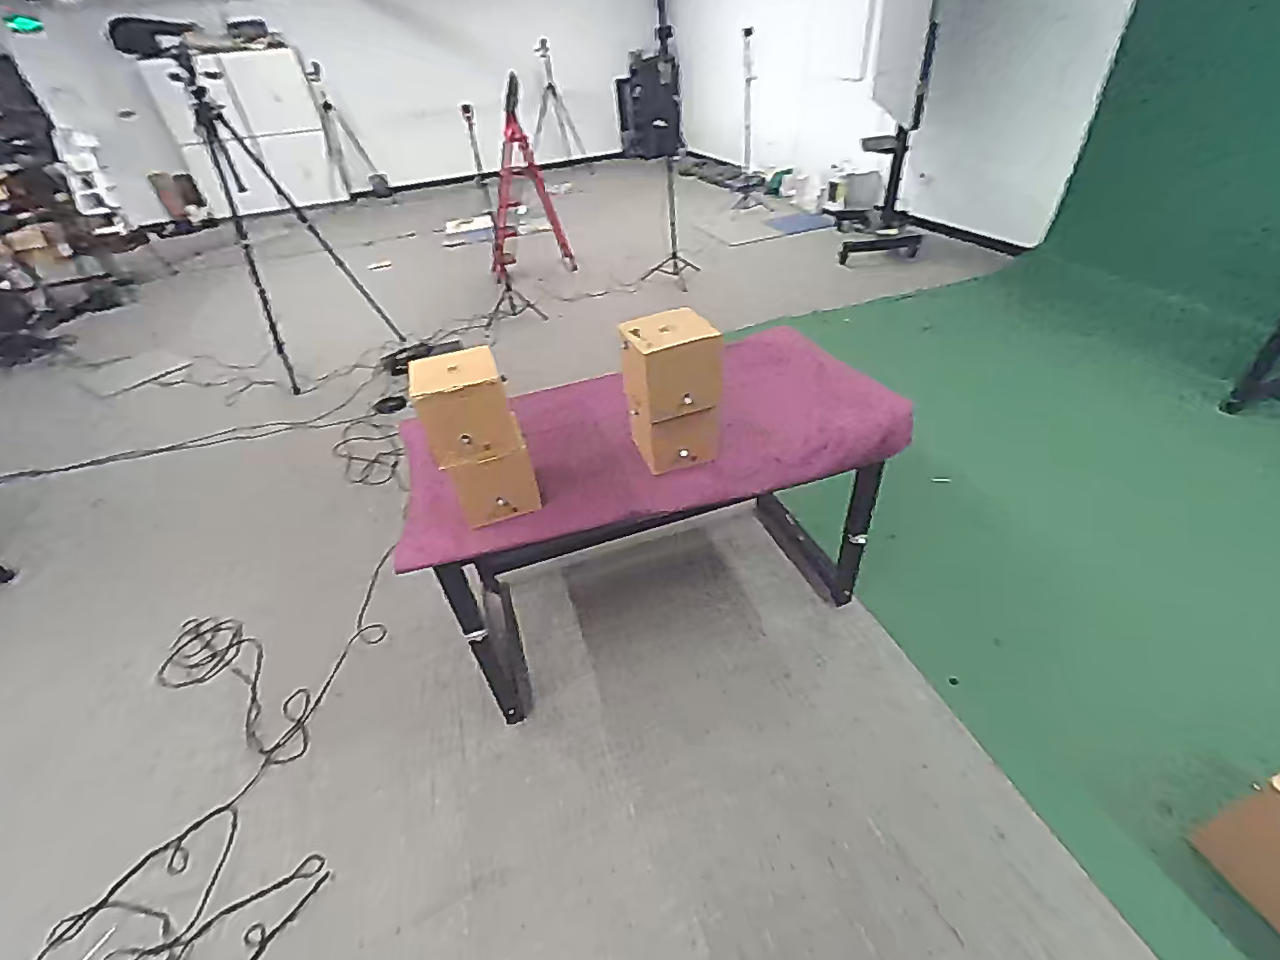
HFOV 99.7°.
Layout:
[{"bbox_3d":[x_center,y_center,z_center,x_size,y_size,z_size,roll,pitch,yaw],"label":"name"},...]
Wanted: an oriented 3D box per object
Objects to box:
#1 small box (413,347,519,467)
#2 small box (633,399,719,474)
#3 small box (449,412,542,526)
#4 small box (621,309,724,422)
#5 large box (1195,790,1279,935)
[{"bbox_3d":[-0.358,-0.152,1.115,0.168,0.176,0.179,-16,38,-13],"label":"small box"},{"bbox_3d":[0.082,-0.140,1.306,0.168,0.176,0.179,-15,40,-10],"label":"small box"},{"bbox_3d":[-0.327,-0.025,1.212,0.168,0.176,0.179,-16,39,-12],"label":"small box"},{"bbox_3d":[0.069,-0.250,1.181,0.179,0.176,0.168,-17,40,-13],"label":"small box"},{"bbox_3d":[1.441,0.791,1.014,0.320,0.320,0.408,-14,40,-10],"label":"large box"}]
